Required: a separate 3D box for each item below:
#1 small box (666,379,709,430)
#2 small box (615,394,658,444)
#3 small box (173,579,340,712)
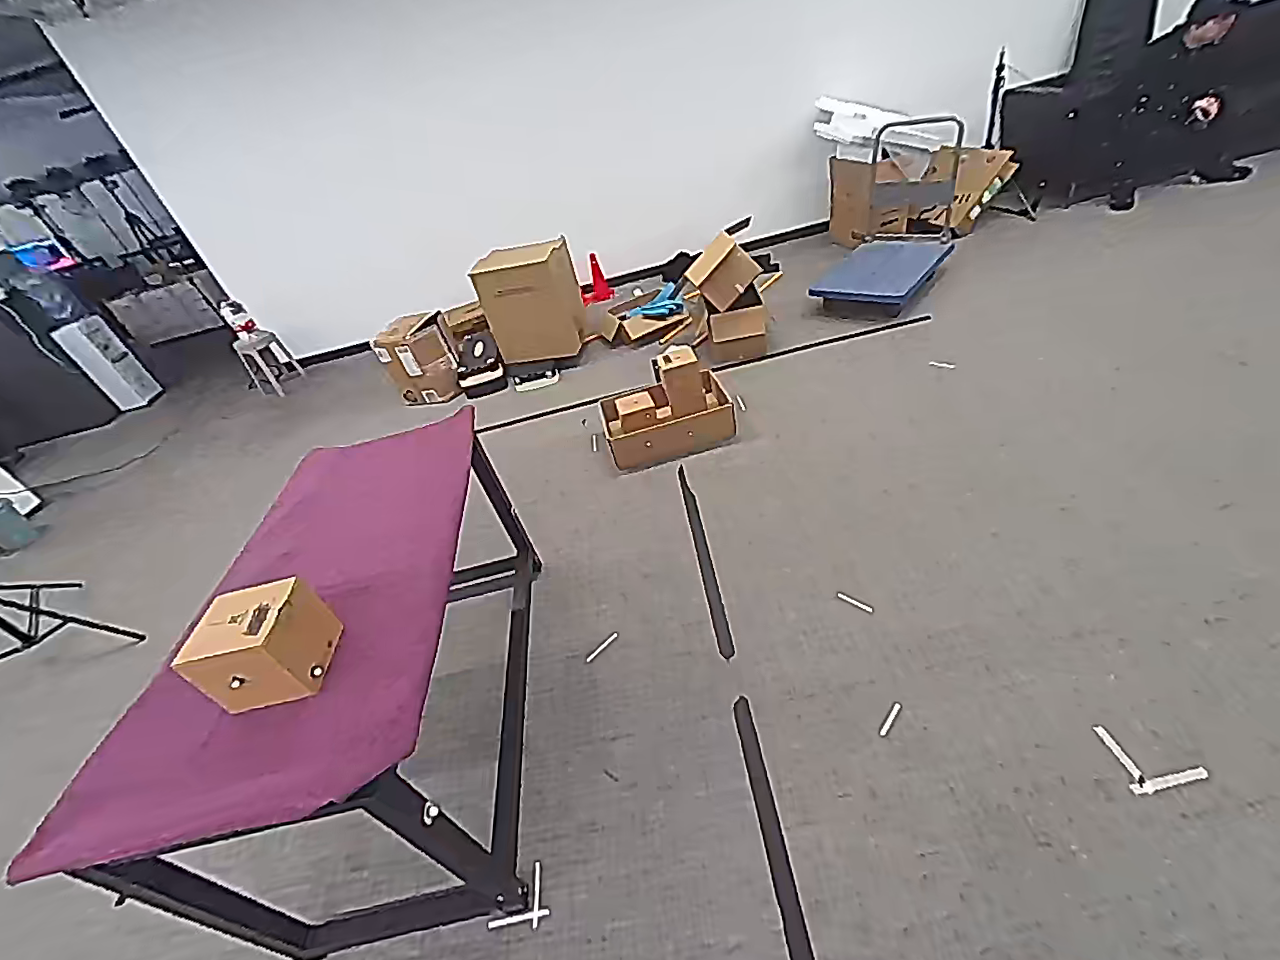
[{"bbox_3d":[0.237,-0.378,2.720,0.168,0.176,0.179,-17,37,0],"label":"small box"},{"bbox_3d":[-0.013,-0.306,2.715,0.179,0.176,0.168,-16,36,-3],"label":"small box"},{"bbox_3d":[-0.729,0.325,1.057,0.179,0.176,0.168,-14,37,3],"label":"small box"}]
